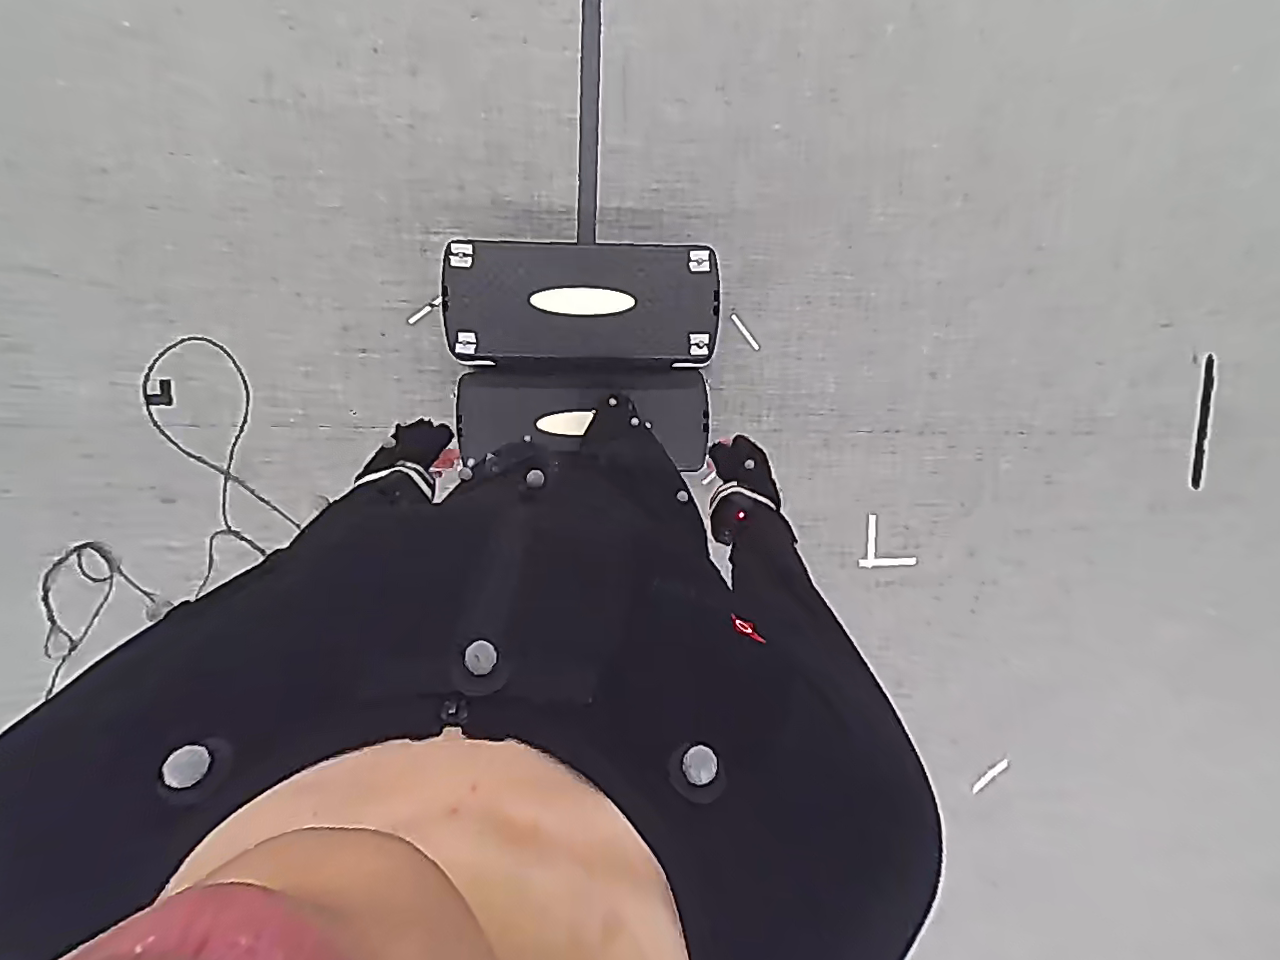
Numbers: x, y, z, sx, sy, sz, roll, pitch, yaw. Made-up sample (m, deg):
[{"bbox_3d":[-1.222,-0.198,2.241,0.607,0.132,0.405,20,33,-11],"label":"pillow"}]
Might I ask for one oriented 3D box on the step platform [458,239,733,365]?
[{"bbox_3d":[-0.107,-0.448,1.385,0.684,0.204,0.286,-1,97,-4],"label":"step platform"}]
